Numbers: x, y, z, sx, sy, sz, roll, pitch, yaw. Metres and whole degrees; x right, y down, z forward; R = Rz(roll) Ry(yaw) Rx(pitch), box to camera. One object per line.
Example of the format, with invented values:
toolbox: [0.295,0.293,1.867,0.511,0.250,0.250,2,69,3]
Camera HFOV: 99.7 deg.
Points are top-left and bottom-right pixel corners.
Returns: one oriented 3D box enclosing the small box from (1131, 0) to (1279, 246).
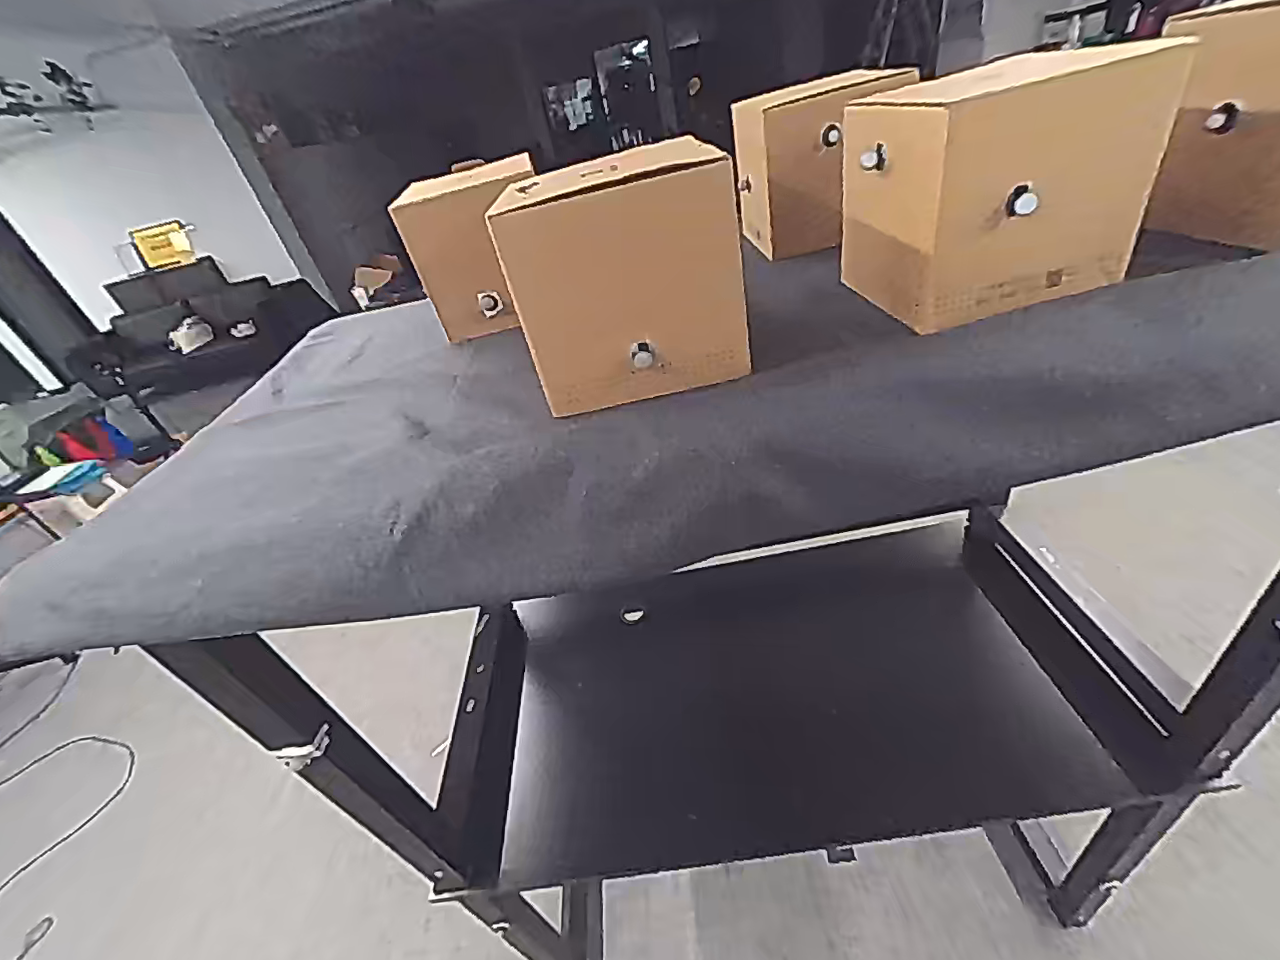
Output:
small box: [0.555,-0.304,0.436,0.168,0.176,0.179,-15,34,0]

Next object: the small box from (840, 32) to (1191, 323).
small box: [0.287,-0.249,0.464,0.168,0.176,0.179,-13,35,3]

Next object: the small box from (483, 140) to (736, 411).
small box: [-0.016,-0.182,0.481,0.179,0.176,0.168,-12,35,3]

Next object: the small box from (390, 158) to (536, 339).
small box: [-0.195,-0.305,0.712,0.168,0.176,0.179,-16,36,-1]

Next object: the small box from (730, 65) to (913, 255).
small box: [0.226,-0.407,0.698,0.179,0.176,0.168,-12,36,4]
